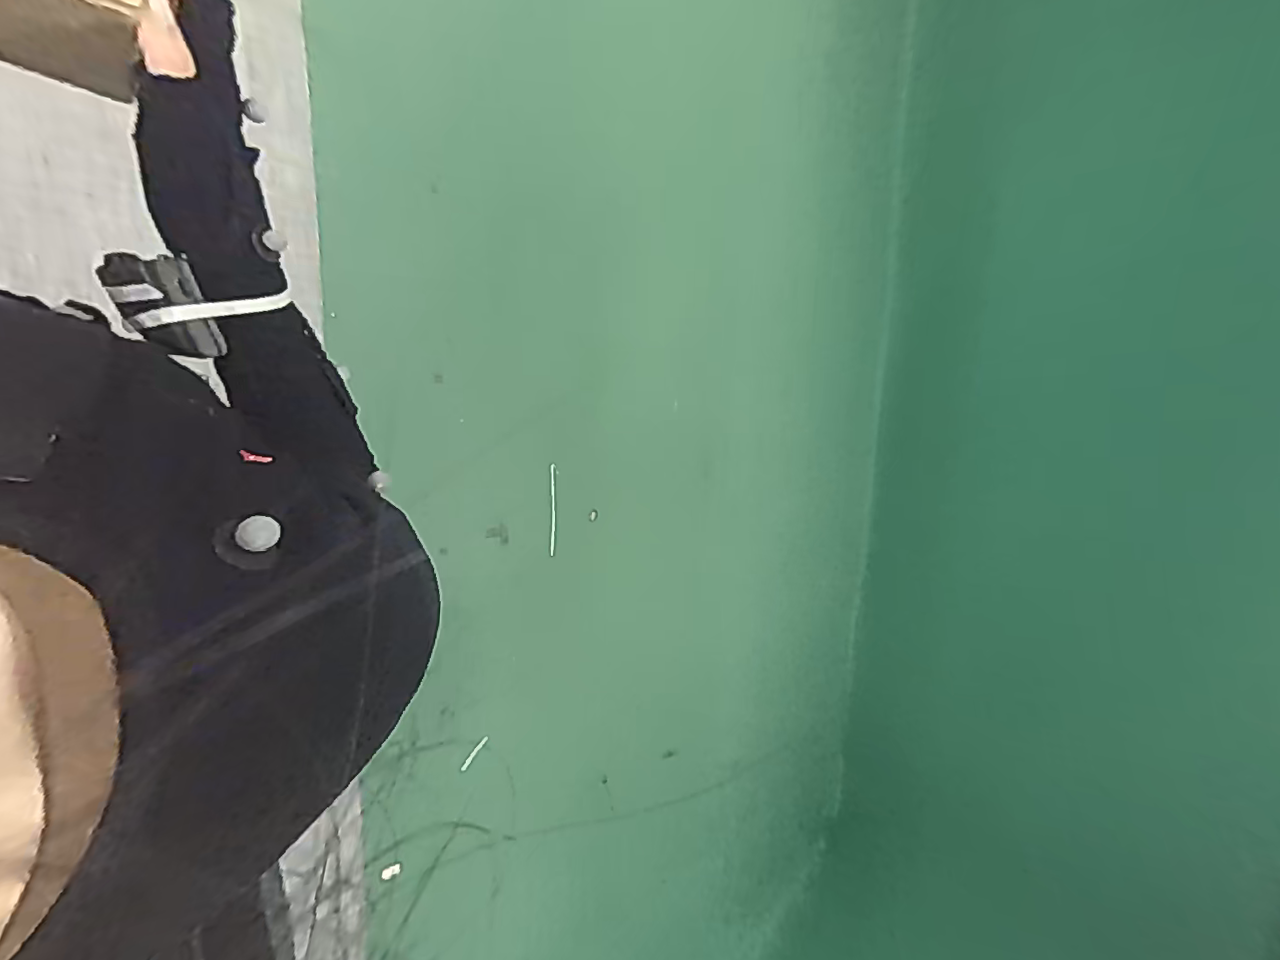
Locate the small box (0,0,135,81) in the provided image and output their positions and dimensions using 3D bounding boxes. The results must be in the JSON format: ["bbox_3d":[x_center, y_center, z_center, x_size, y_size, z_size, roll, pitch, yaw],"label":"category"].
[{"bbox_3d":[-0.318,-0.308,0.220,0.168,0.176,0.179,-2,105,-44],"label":"small box"}]
